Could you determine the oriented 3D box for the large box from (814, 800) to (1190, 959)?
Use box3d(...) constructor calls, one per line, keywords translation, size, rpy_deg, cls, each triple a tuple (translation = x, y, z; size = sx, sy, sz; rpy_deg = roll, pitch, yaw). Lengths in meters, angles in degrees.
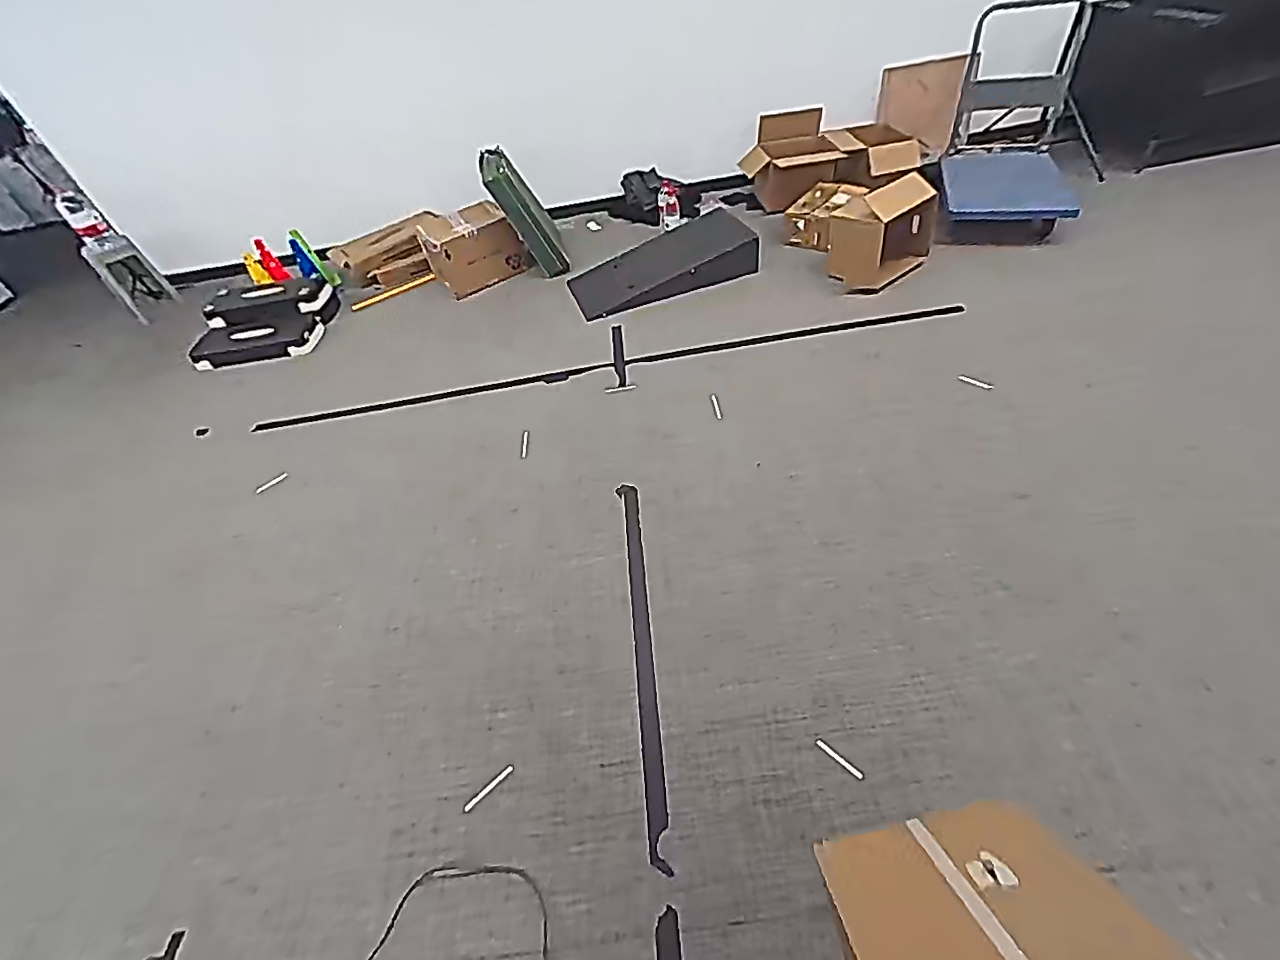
box3d(translation=(0.450, 0.670, 0.635), size=(0.320, 0.408, 0.320), rpy_deg=(-14, 87, 2), cls="large box")
